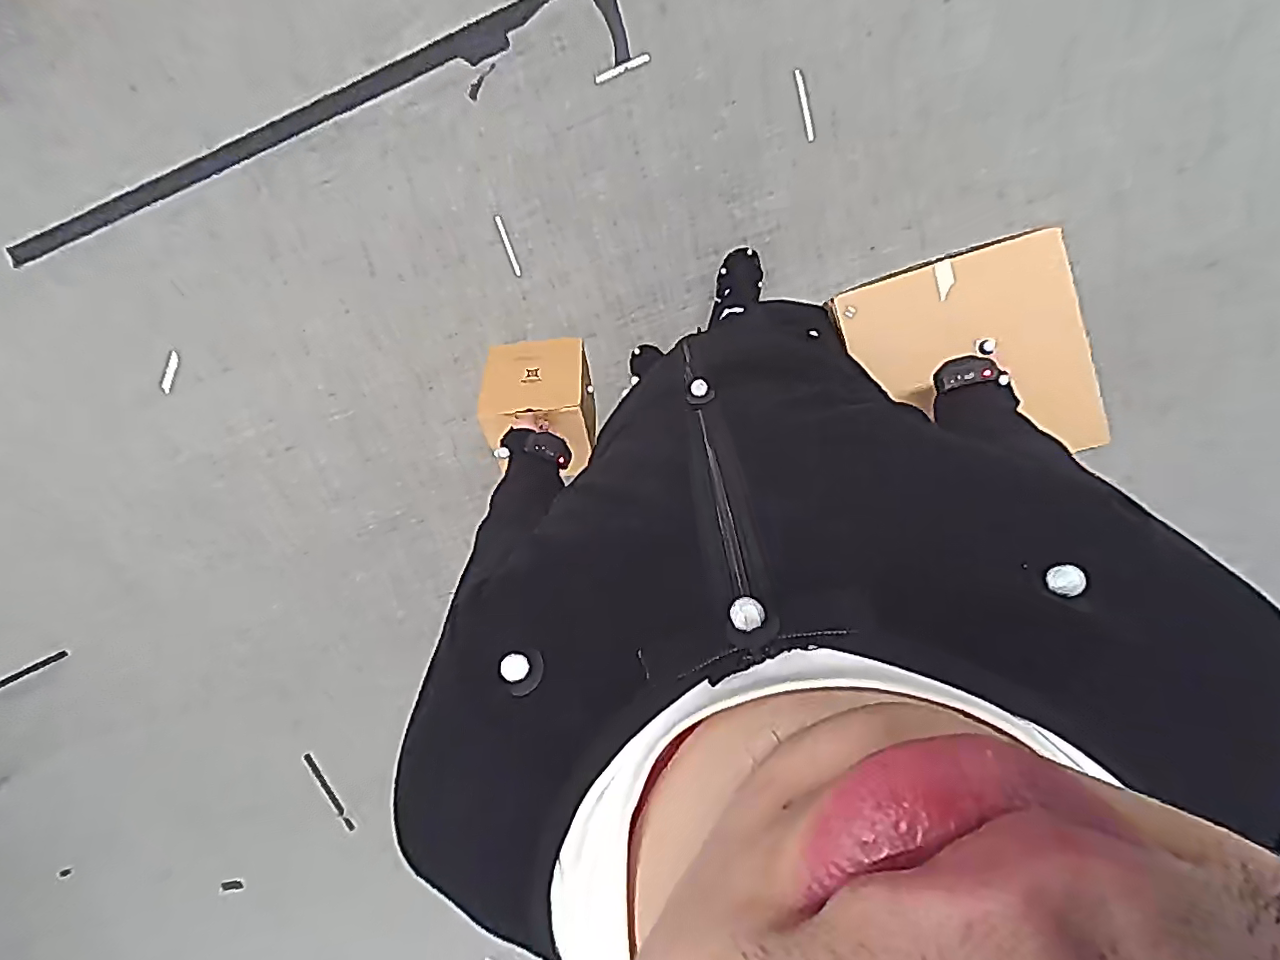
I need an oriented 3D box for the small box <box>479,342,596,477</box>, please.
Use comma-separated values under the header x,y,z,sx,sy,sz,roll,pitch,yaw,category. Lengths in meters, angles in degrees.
x,y,z,sx,sy,sz,roll,pitch,yaw,category
-0.170,-0.117,0.959,0.168,0.179,0.176,-5,141,2,small box
